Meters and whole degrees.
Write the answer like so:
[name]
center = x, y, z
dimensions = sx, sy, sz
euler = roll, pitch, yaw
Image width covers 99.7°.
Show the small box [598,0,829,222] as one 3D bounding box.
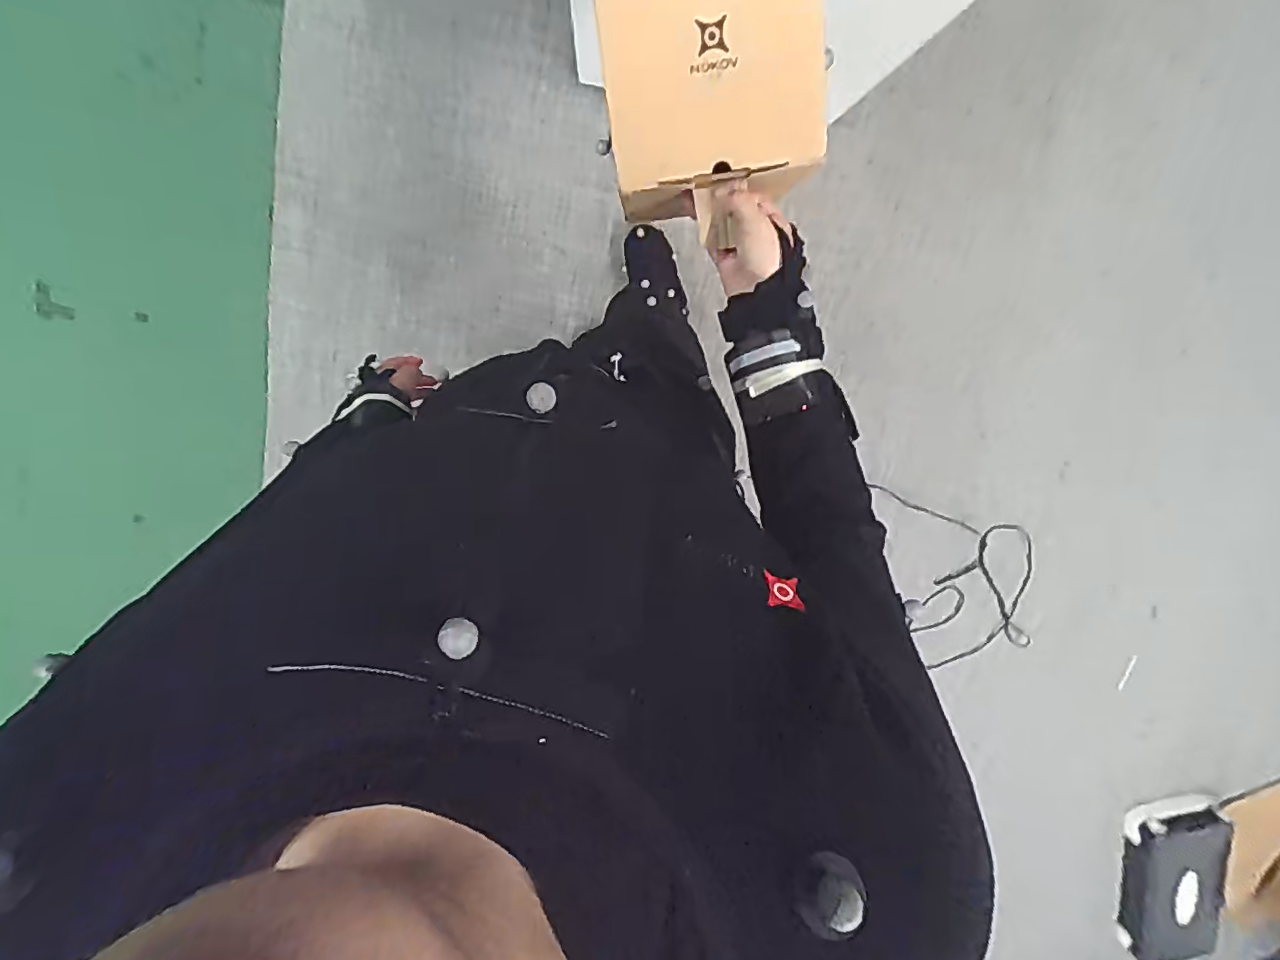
[small box]
center = 0.054, -0.343, 0.474
dimensions = 0.168, 0.176, 0.179
euler = -8, 107, 1
